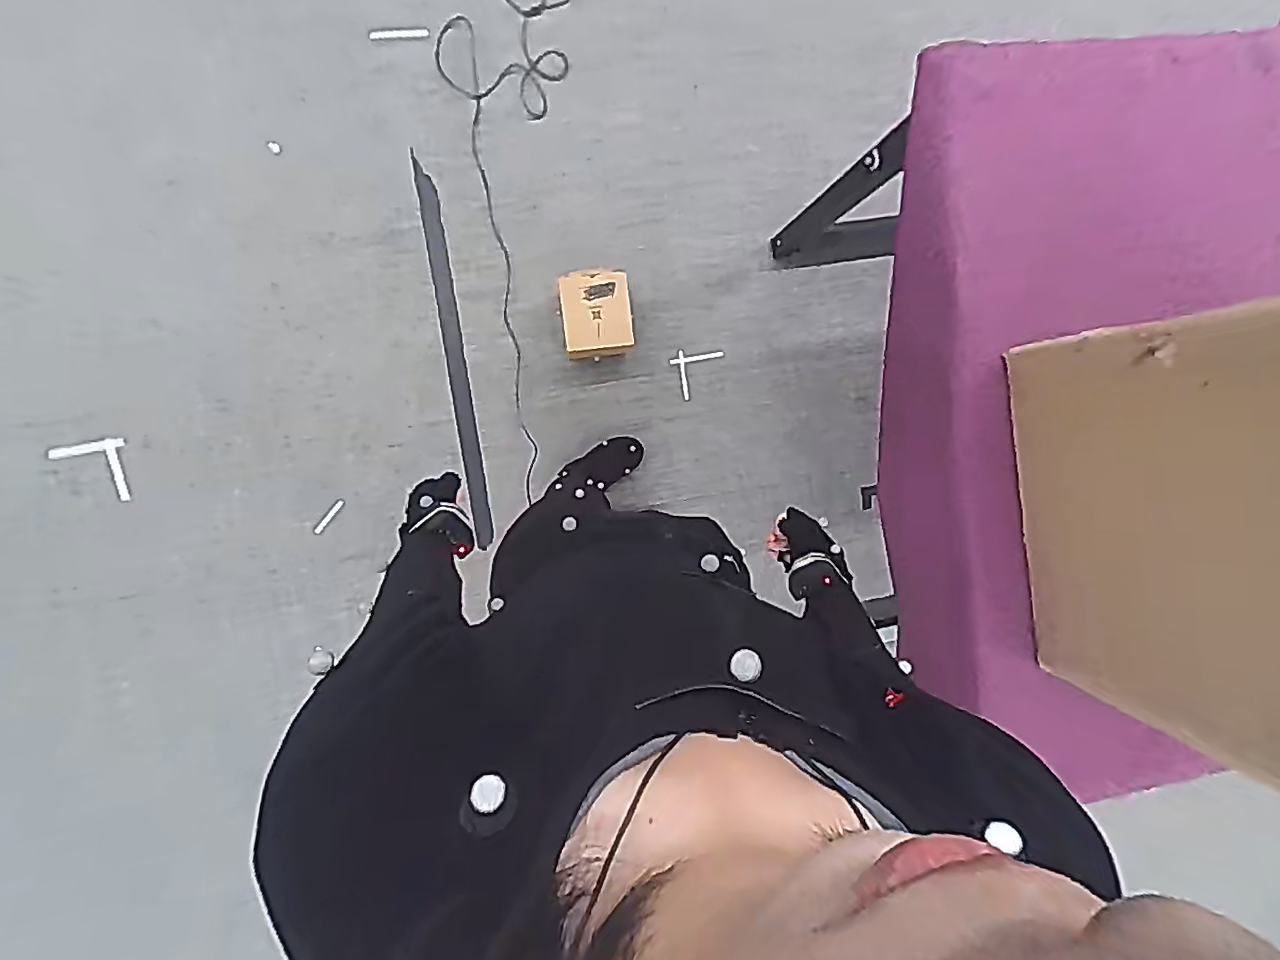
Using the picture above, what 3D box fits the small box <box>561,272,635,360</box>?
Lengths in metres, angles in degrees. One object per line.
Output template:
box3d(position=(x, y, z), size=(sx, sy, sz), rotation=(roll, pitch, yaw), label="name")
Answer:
box3d(position=(-0.110, -0.409, 1.366), size=(0.168, 0.176, 0.179), rotation=(-7, 96, -7), label="small box")
